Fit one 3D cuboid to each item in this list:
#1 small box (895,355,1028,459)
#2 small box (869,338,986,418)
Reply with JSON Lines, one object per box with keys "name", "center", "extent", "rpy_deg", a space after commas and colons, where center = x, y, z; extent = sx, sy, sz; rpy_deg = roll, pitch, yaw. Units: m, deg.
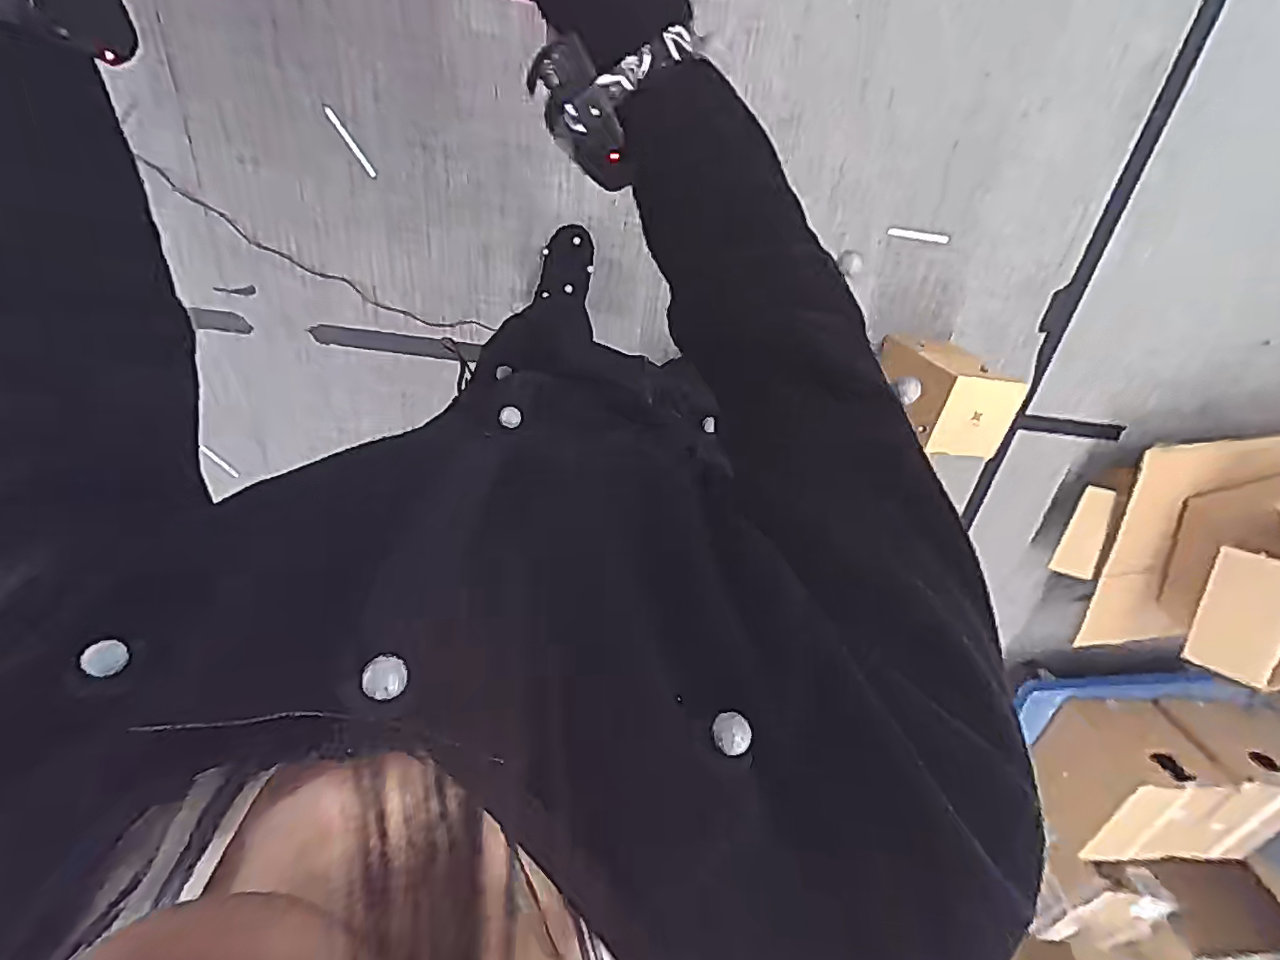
{"name": "small box", "center": [0.707, -0.169, 1.216], "extent": [0.168, 0.176, 0.179], "rpy_deg": [5, 120, -6]}
{"name": "small box", "center": [0.708, -0.251, 1.356], "extent": [0.179, 0.176, 0.168], "rpy_deg": [4, 120, -7]}
